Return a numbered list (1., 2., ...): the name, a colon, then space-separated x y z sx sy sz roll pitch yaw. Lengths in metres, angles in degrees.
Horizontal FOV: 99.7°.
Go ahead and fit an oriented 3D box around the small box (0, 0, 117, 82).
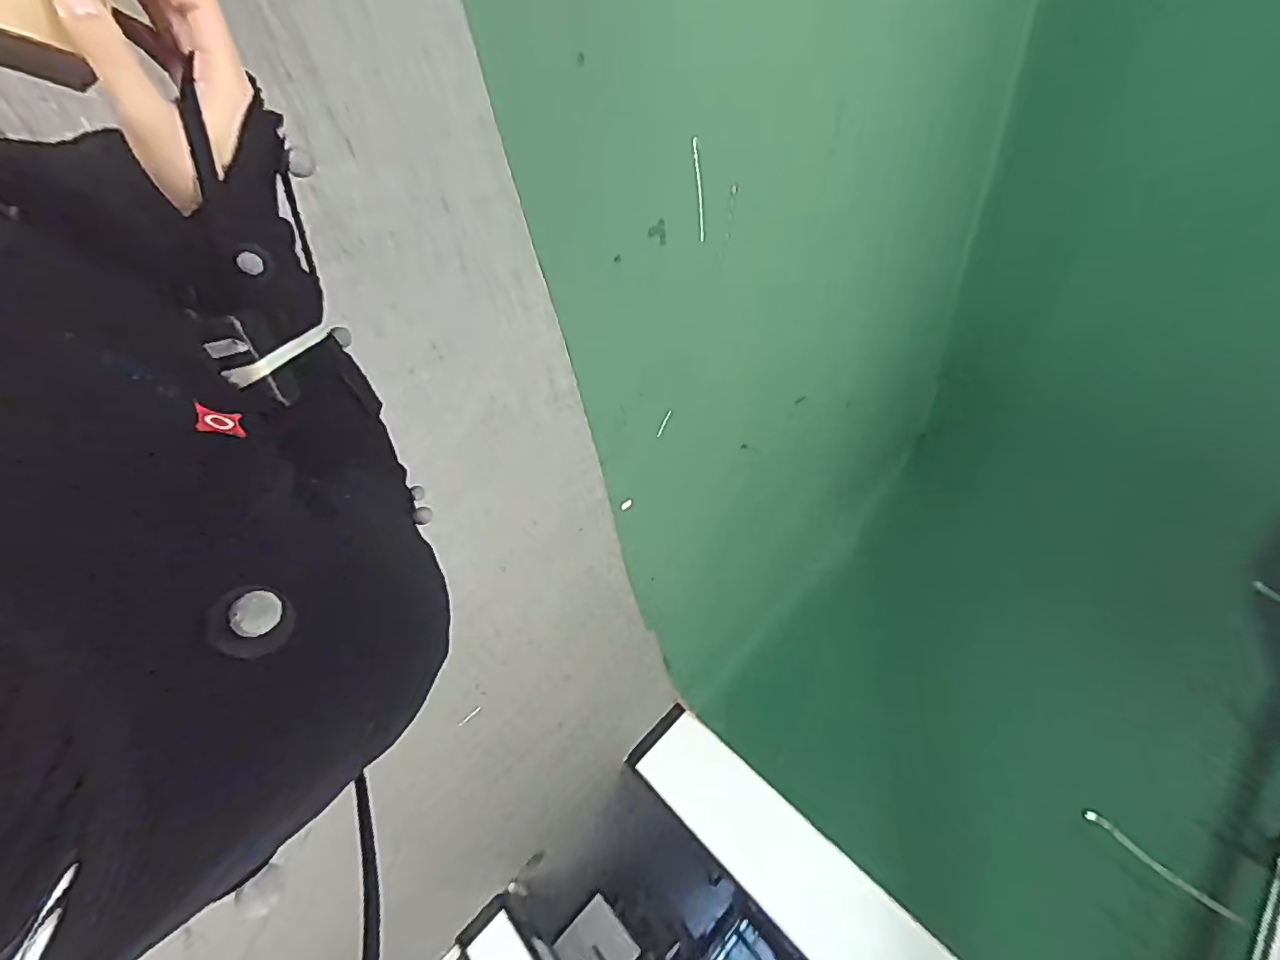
1. small box: -0.338 -0.299 0.219 0.168 0.176 0.179 -6 117 -48
